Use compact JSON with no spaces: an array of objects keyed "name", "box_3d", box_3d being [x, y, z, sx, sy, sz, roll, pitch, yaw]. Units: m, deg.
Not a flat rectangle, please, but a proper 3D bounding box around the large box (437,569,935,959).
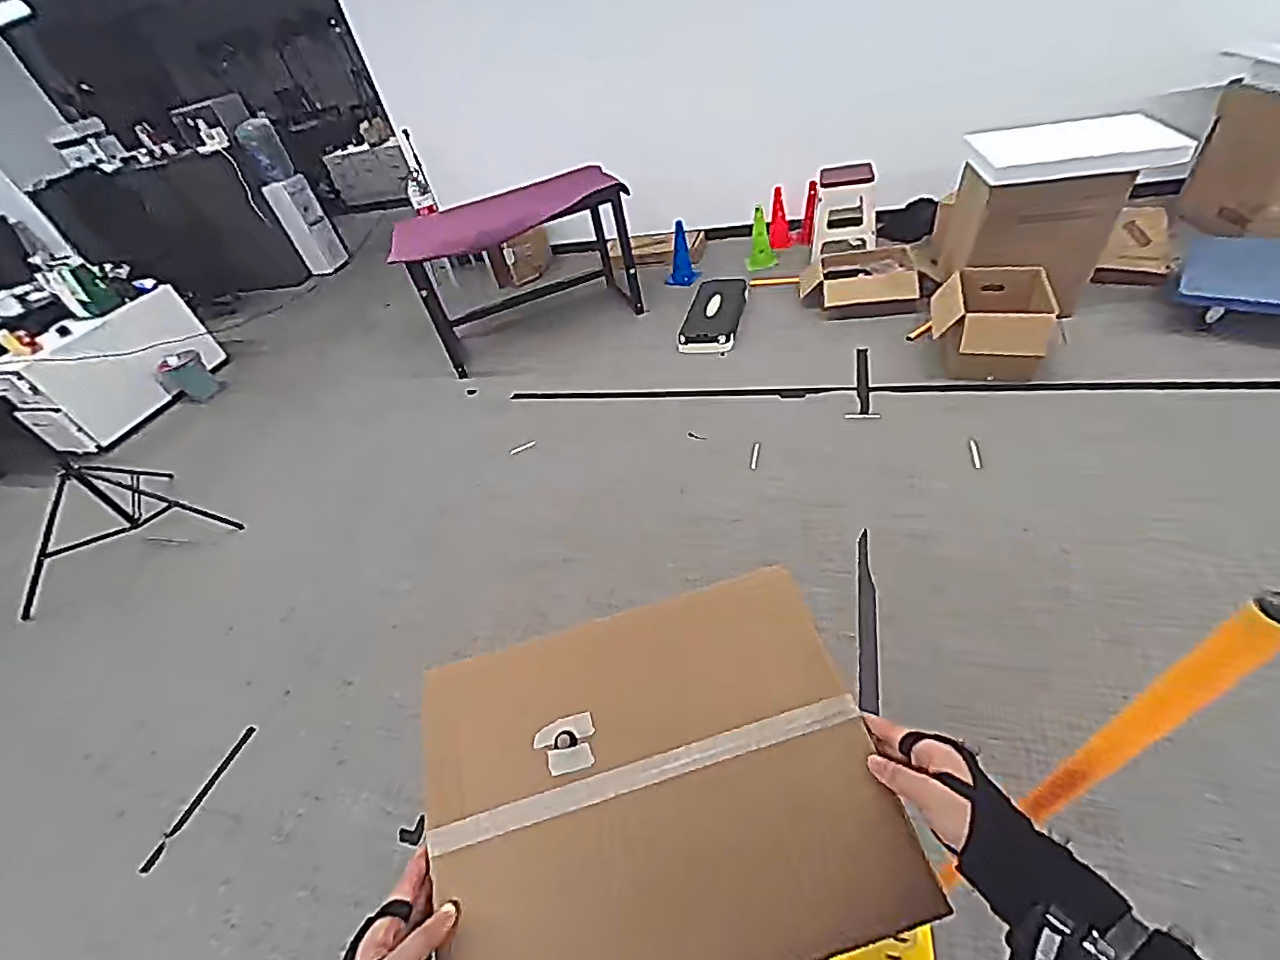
[{"name":"large box","box_3d":[0.031,0.358,0.629,0.408,0.320,0.320,-17,54,-3]}]
